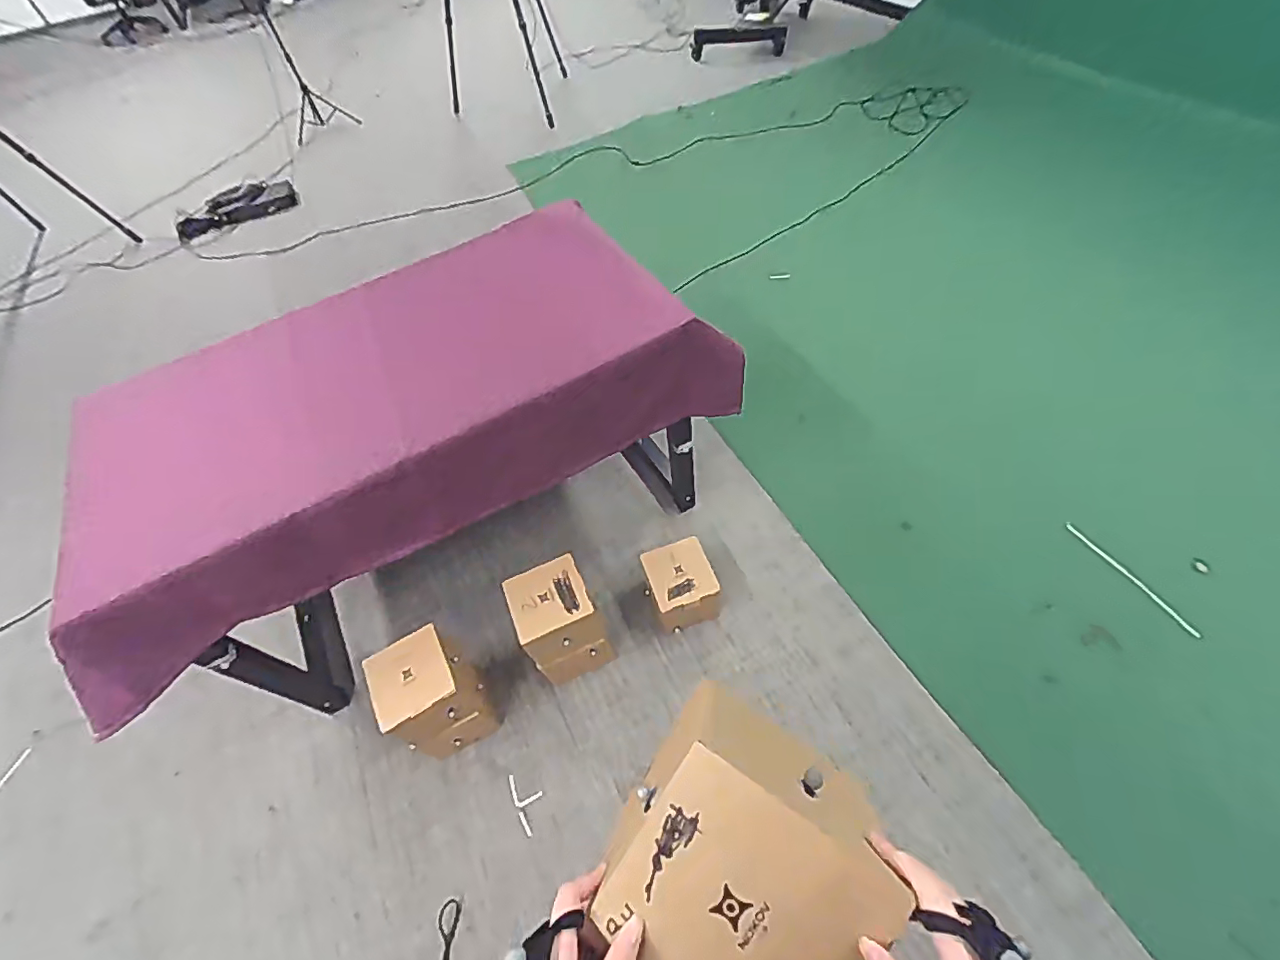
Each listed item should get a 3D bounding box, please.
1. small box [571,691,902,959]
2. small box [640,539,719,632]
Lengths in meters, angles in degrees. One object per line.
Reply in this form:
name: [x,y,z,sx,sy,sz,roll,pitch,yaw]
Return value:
small box: [0.075,0.308,0.456,0.179,0.176,0.168,32,89,11]
small box: [0.110,0.296,1.469,0.168,0.176,0.179,-19,54,-6]
